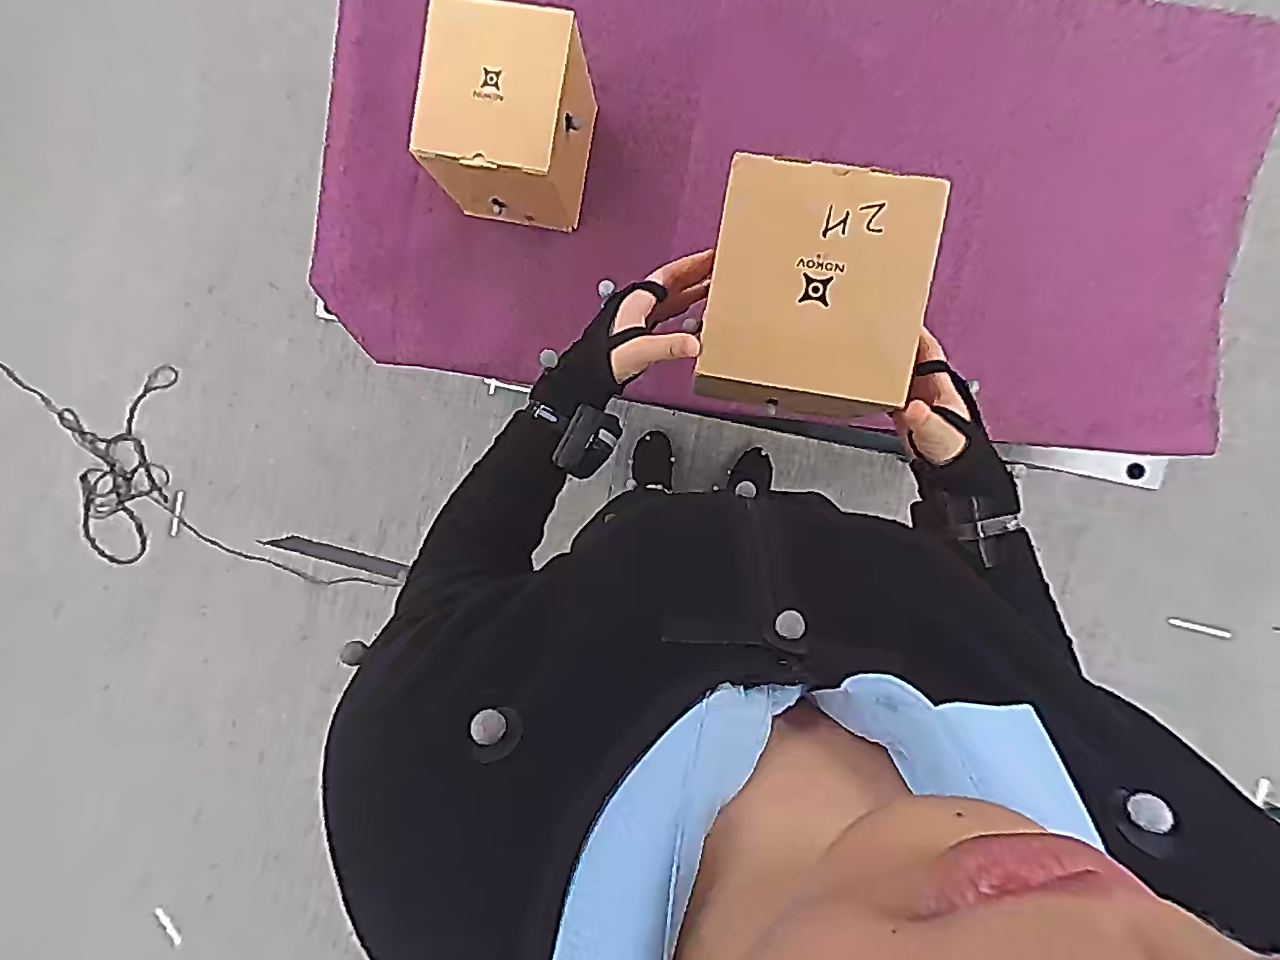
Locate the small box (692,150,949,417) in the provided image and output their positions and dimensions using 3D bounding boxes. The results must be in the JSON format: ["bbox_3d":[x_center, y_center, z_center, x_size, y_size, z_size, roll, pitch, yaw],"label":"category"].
[{"bbox_3d":[0.144,-0.158,0.494,0.168,0.176,0.179,10,93,4],"label":"small box"}]

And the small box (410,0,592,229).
[{"bbox_3d":[-0.161,-0.447,0.681,0.168,0.176,0.179,11,95,3],"label":"small box"}]
